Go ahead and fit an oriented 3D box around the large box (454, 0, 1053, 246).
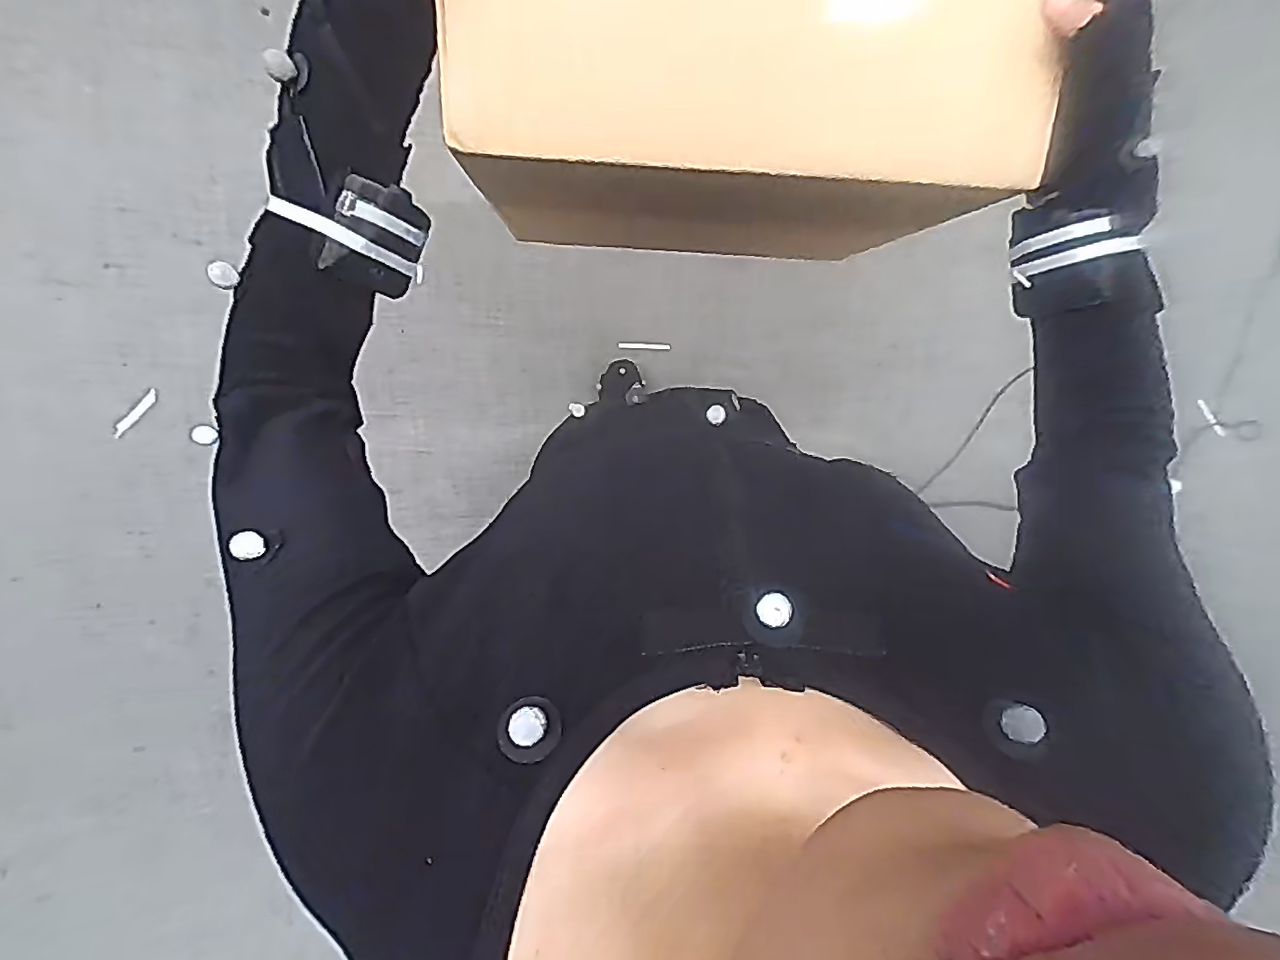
[{"bbox_3d":[0.067,-0.404,0.481,0.408,0.320,0.320,0,104,-5],"label":"large box"}]
